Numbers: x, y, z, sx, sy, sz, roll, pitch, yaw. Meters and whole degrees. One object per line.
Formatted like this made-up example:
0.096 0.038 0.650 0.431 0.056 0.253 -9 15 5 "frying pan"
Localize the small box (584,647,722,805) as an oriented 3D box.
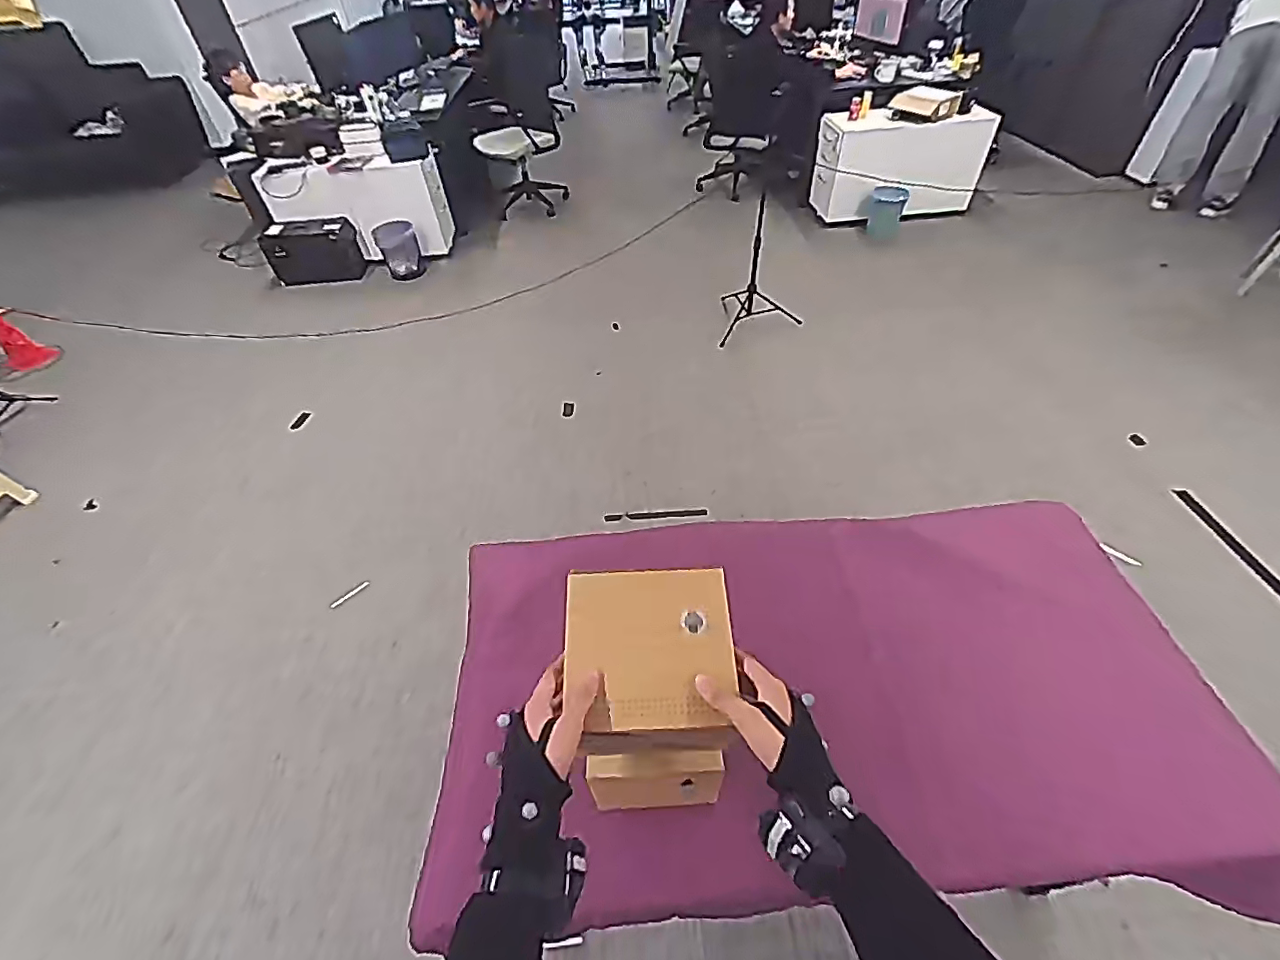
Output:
0.016 0.359 0.786 0.179 0.176 0.168 -3 47 0 "small box"
